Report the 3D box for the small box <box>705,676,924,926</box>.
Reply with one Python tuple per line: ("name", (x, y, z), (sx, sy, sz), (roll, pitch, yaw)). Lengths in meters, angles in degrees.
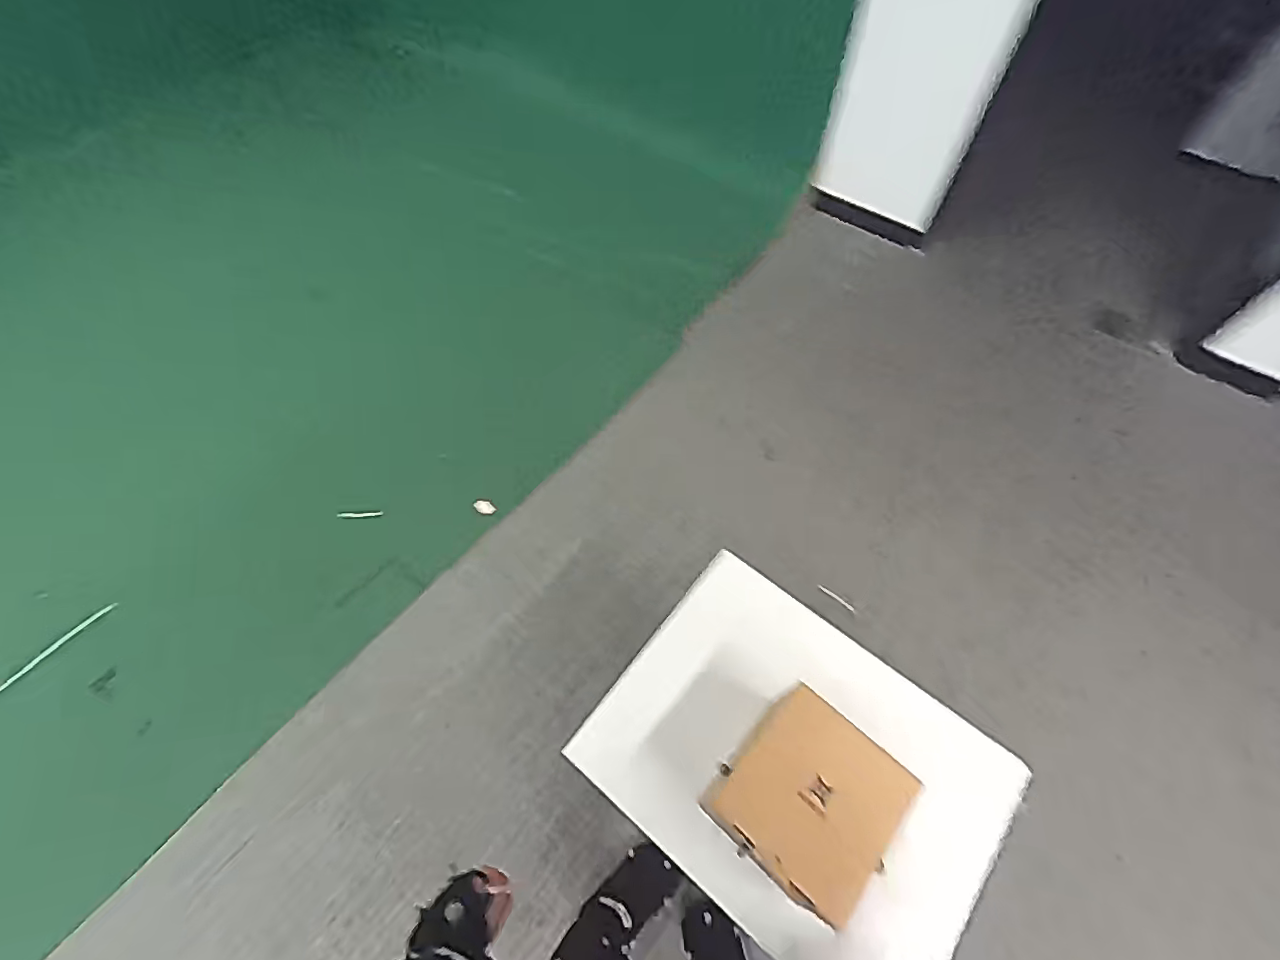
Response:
("small box", (0.192, 0.371, 0.649), (0.168, 0.176, 0.179), (38, 67, 21))
